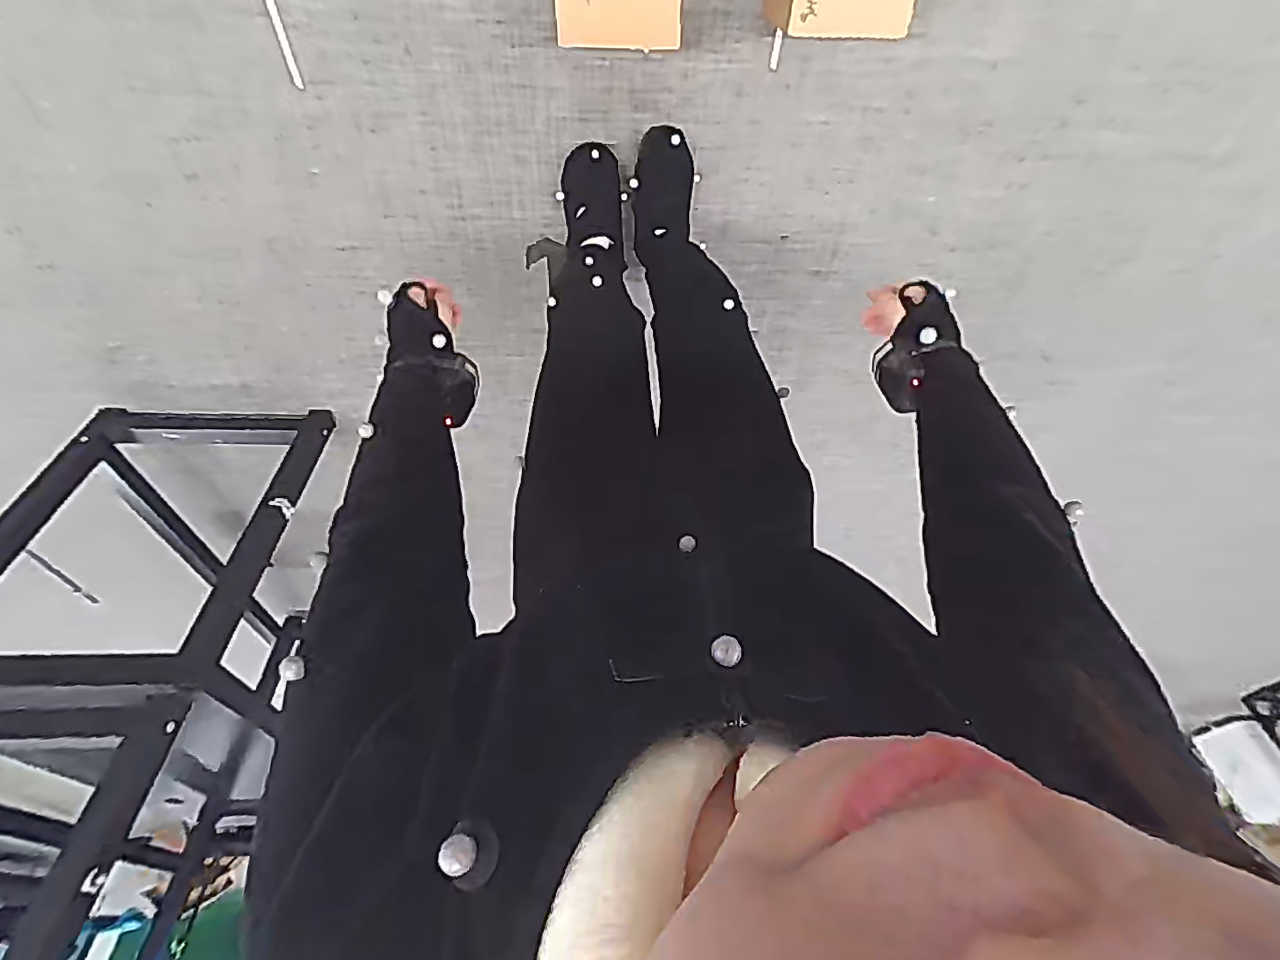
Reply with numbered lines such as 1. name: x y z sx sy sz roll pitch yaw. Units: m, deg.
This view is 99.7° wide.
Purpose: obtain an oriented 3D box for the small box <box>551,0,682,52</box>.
1. small box: -0.035 -0.718 0.749 0.179 0.176 0.168 -1 138 -3

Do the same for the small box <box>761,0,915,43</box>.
1. small box: 0.285 -0.735 0.755 0.179 0.176 0.168 -1 138 -4
